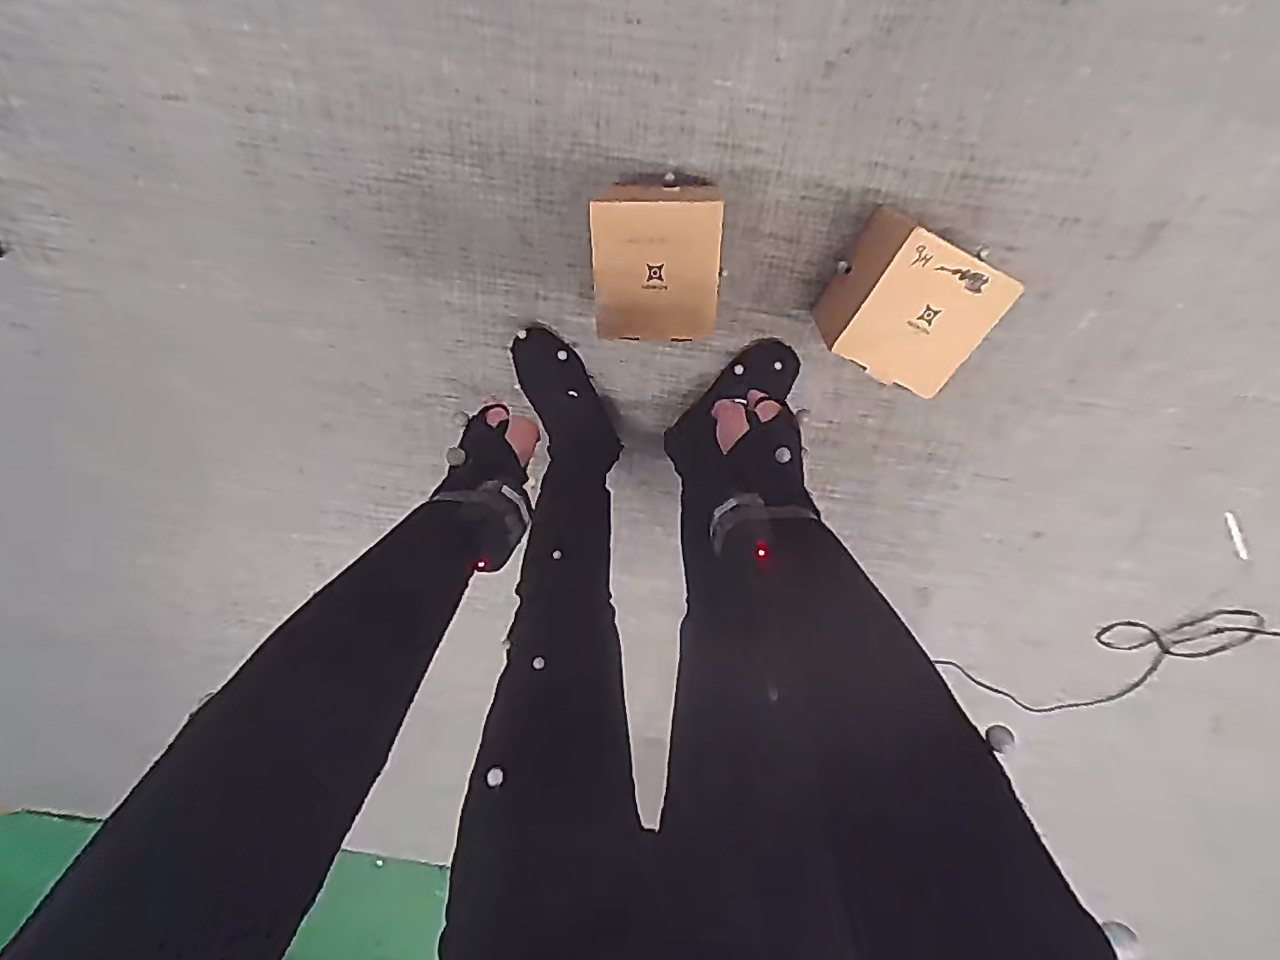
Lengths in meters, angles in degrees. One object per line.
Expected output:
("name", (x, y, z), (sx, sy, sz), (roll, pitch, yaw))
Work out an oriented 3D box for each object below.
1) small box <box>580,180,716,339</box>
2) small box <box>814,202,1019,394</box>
("small box", (0.017, -0.310, 0.755), (0.168, 0.176, 0.179), (1, 124, 4))
("small box", (0.362, -0.256, 0.753), (0.168, 0.176, 0.179), (23, 125, -9))
